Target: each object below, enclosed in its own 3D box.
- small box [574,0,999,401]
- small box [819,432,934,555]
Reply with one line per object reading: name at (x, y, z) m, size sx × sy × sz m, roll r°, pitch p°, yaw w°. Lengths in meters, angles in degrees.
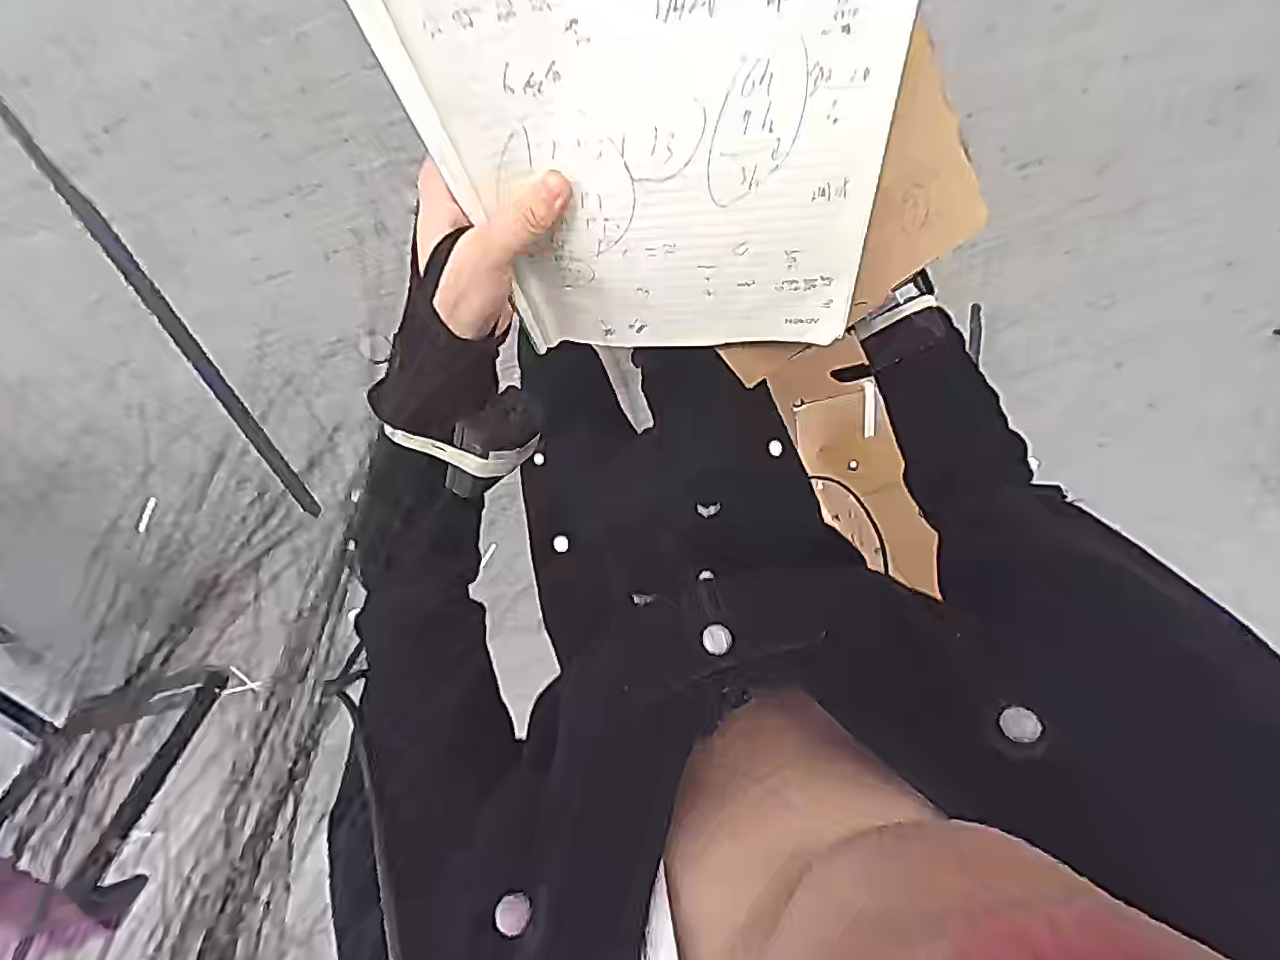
small box at (0.076, -0.191, 0.339) m, size 0.168 × 0.176 × 0.179 m, roll -36°, pitch 128°, yaw 21°
small box at (0.492, 0.024, 1.141) m, size 0.179 × 0.176 × 0.168 m, roll -18°, pitch 124°, yaw 5°
